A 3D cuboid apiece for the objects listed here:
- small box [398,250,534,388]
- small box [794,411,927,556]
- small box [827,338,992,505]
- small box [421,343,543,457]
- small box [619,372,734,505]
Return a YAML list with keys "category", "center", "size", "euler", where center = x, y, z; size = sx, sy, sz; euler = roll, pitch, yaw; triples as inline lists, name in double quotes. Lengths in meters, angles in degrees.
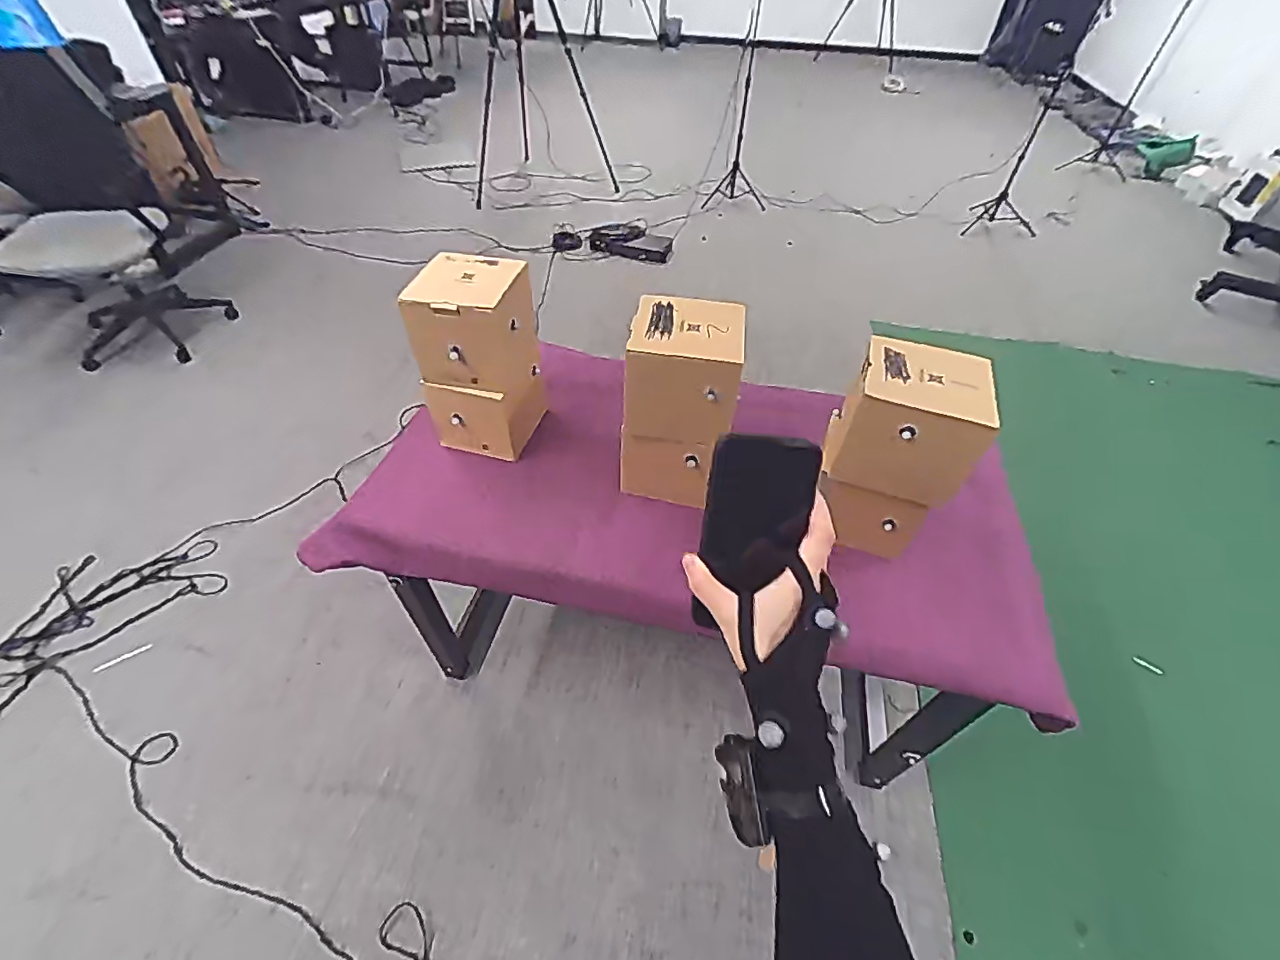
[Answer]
- category: "small box"
  center: [-0.298, -0.288, 0.976]
  size: [0.168, 0.176, 0.179]
  euler: [10, 49, 5]
- category: "small box"
  center: [0.391, 0.010, 0.958]
  size: [0.179, 0.176, 0.168]
  euler: [17, 49, 14]
- category: "small box"
  center: [0.400, -0.087, 0.825]
  size: [0.179, 0.176, 0.168]
  euler: [17, 49, 12]
- category: "small box"
  center: [-0.305, -0.171, 1.093]
  size: [0.168, 0.176, 0.179]
  euler: [13, 48, 9]
- category: "small box"
  center: [0.066, -0.074, 1.018]
  size: [0.179, 0.176, 0.168]
  euler: [12, 48, 9]
